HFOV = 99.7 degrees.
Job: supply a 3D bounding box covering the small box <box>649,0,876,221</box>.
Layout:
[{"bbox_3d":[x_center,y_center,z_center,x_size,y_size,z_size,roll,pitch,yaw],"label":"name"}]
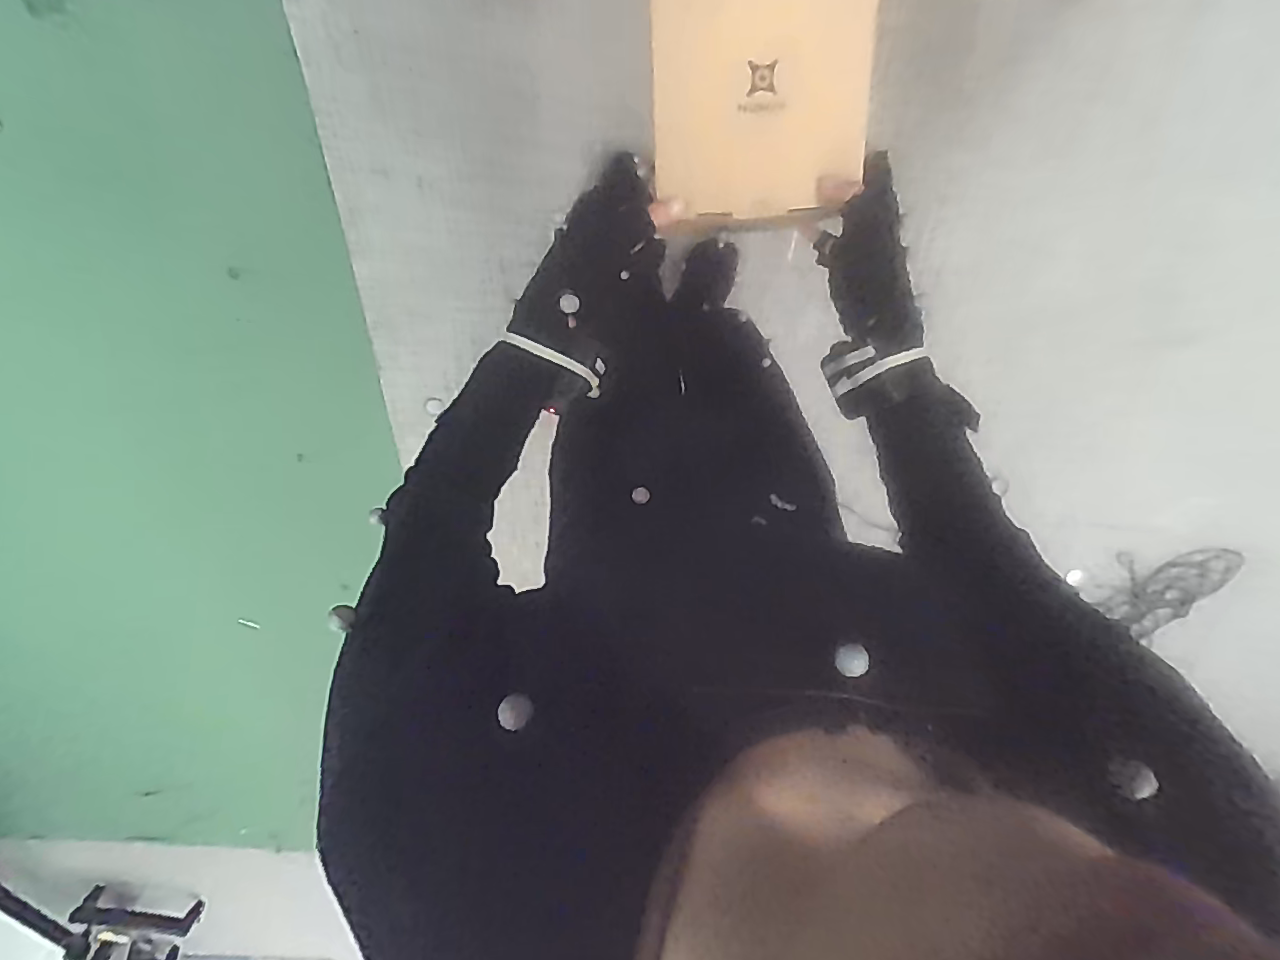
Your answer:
[{"bbox_3d":[0.094,-0.344,0.492,0.168,0.176,0.179,-2,111,1],"label":"small box"}]
